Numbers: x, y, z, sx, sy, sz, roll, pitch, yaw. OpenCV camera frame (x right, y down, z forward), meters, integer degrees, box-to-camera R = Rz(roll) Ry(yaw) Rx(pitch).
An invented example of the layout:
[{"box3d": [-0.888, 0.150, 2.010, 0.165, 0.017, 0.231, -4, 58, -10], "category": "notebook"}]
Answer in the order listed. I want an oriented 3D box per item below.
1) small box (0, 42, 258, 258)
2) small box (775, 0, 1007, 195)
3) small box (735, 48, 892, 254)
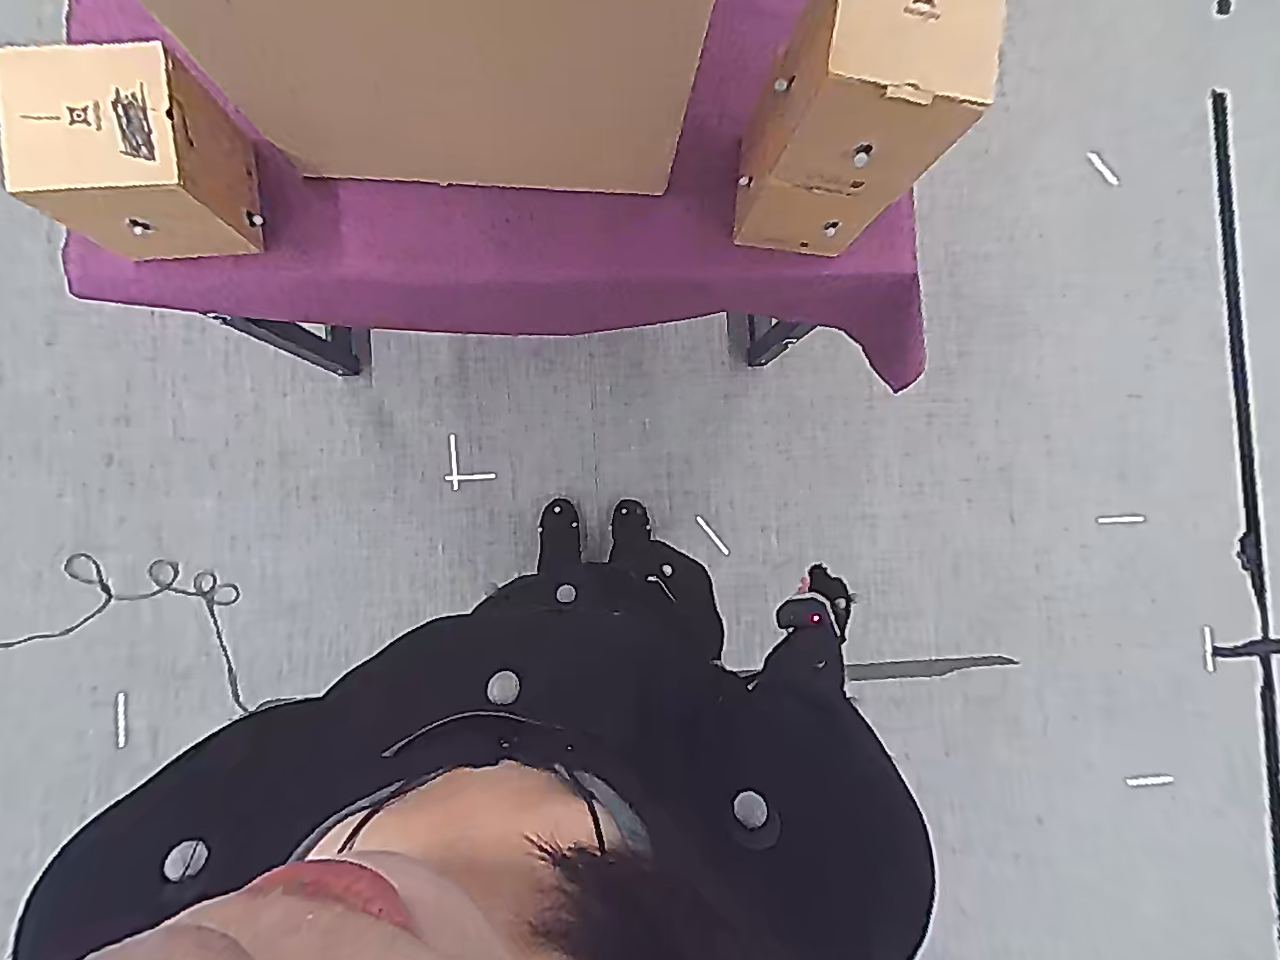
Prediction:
[{"box3d": [-0.608, -0.394, 0.671, 0.179, 0.176, 0.168, -7, 88, -6], "category": "small box"}, {"box3d": [0.259, -0.447, 0.590, 0.168, 0.176, 0.179, 10, 88, -5], "category": "small box"}, {"box3d": [0.236, -0.440, 0.753, 0.168, 0.176, 0.179, 5, 87, -5], "category": "small box"}]
